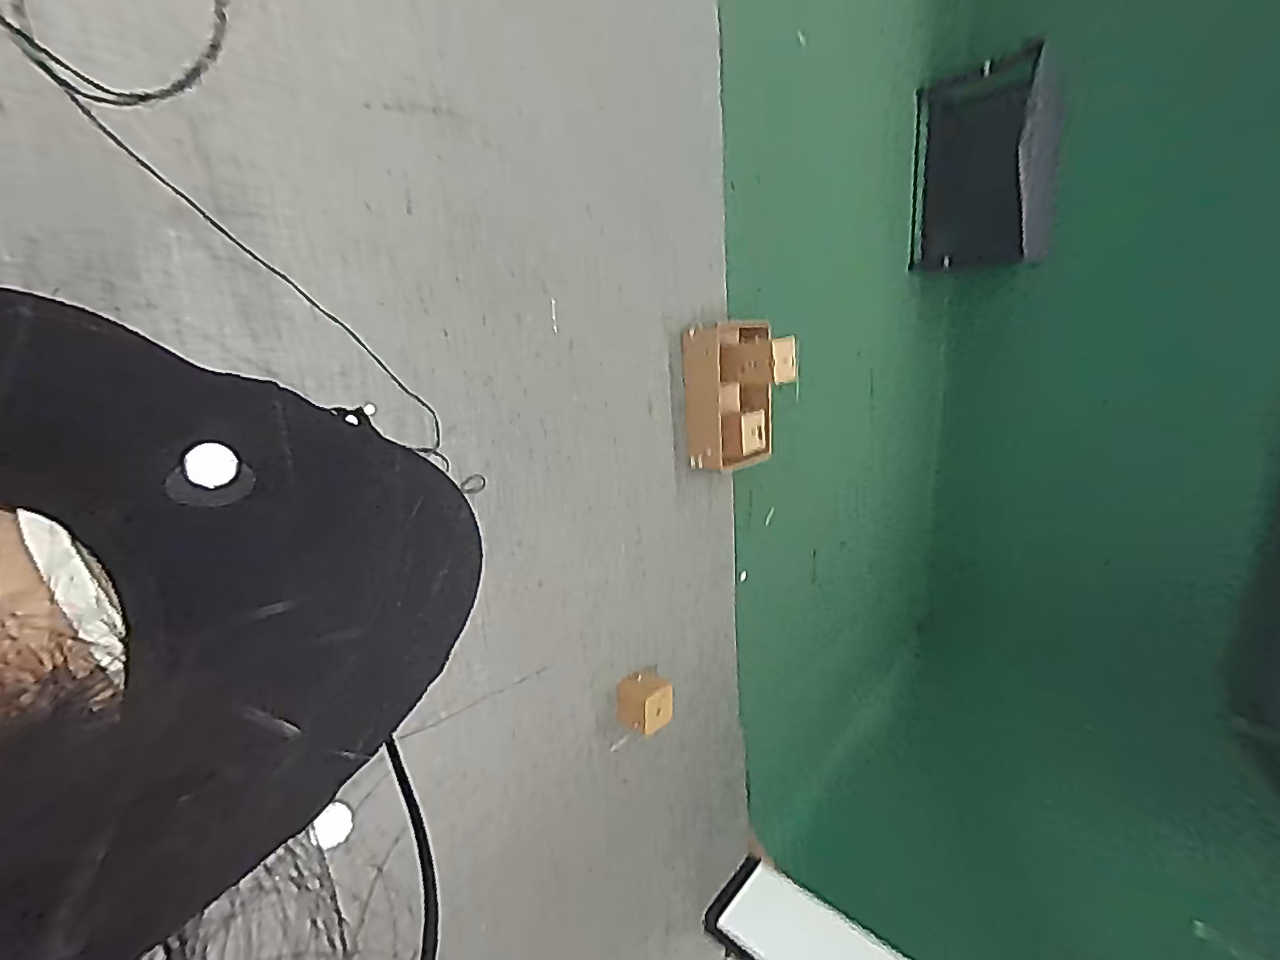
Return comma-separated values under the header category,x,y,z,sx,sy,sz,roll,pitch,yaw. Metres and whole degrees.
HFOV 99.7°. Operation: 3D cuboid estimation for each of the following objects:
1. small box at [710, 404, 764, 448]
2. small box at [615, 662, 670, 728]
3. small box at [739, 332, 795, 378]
category,x,y,z,sx,sy,sz,roll,pitch,yaw
small box,0.437,-0.248,2.434,0.179,0.176,0.168,-19,110,-40
small box,0.007,0.902,2.280,0.168,0.176,0.179,-11,105,-45
small box,0.520,-0.514,2.232,0.179,0.176,0.168,-21,112,-41
